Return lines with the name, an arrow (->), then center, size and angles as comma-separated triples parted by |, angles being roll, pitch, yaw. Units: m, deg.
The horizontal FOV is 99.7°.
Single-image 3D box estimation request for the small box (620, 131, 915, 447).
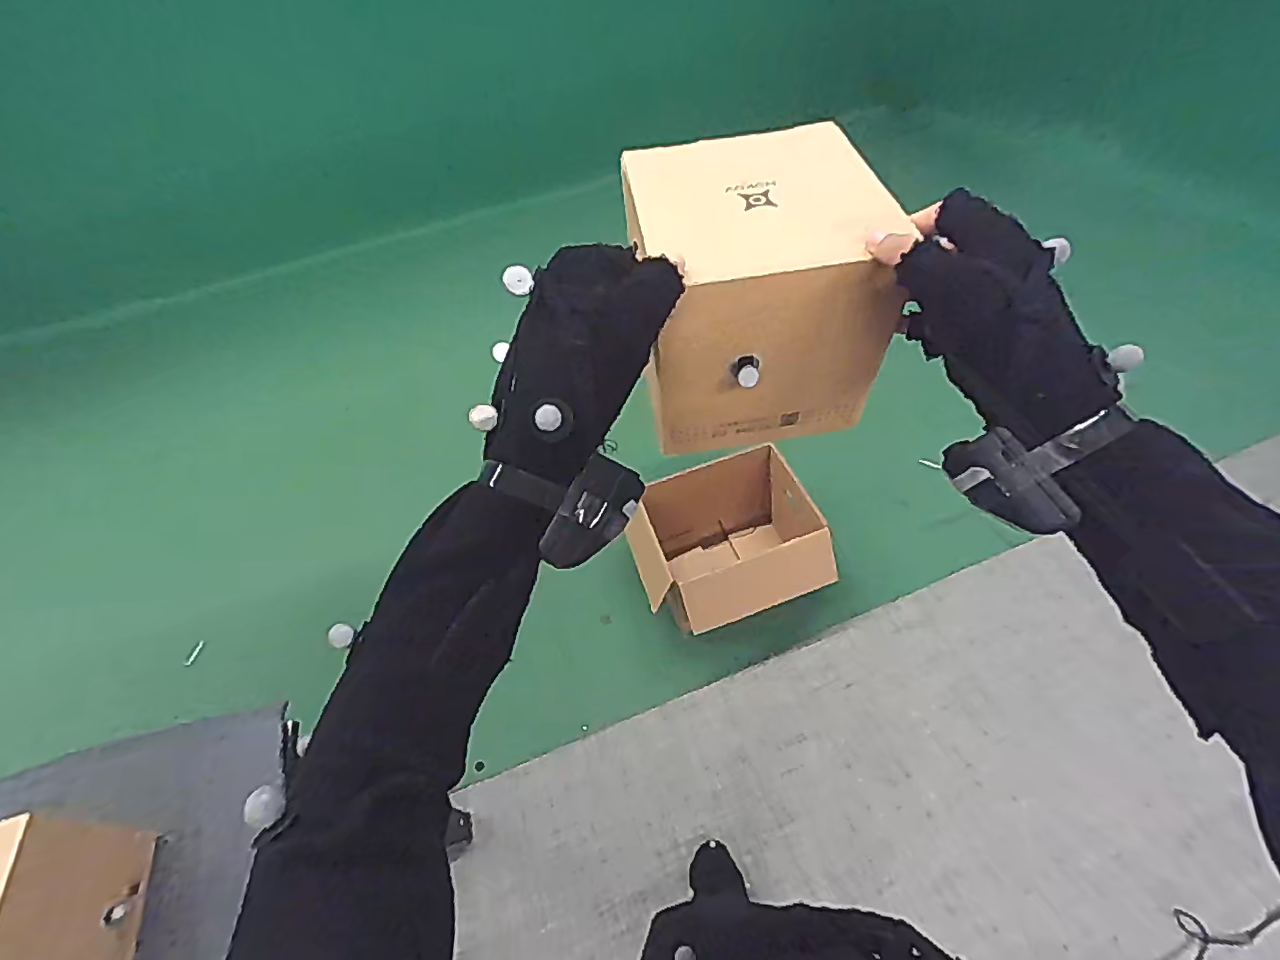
small box -> 0.082, -0.141, 0.434 | 0.168, 0.176, 0.179 | -9, 54, -1
